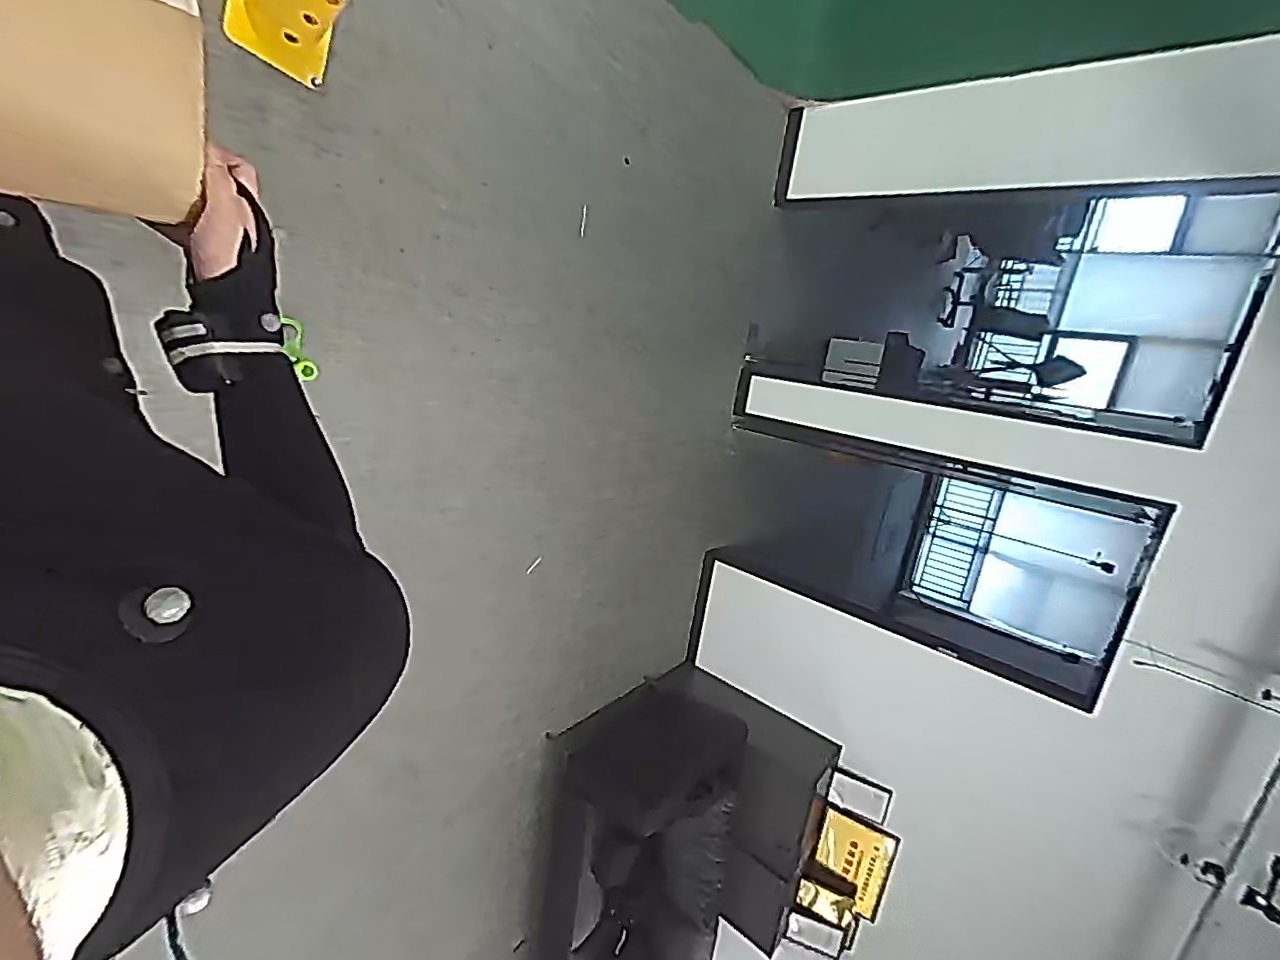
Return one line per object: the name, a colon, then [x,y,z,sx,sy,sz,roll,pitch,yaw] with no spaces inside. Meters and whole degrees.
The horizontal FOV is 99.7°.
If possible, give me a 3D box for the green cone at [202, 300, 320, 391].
green cone: [-0.840,-0.290,1.260,0.200,0.368,0.202,1,104,-53]
